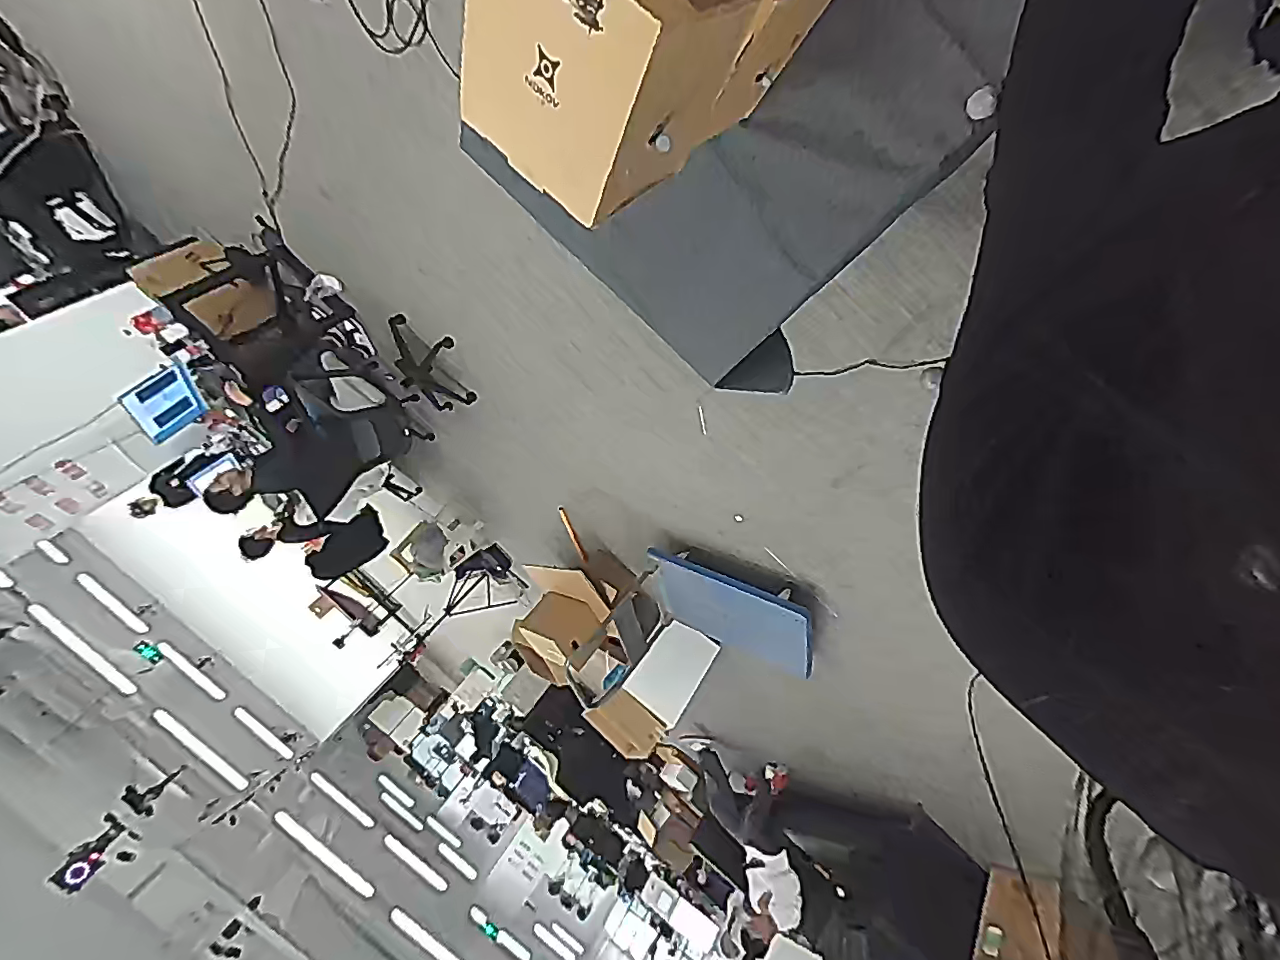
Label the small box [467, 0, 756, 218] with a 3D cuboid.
[{"bbox_3d":[-0.027,-0.381,0.474,0.168,0.176,0.179,40,149,0],"label":"small box"}]
